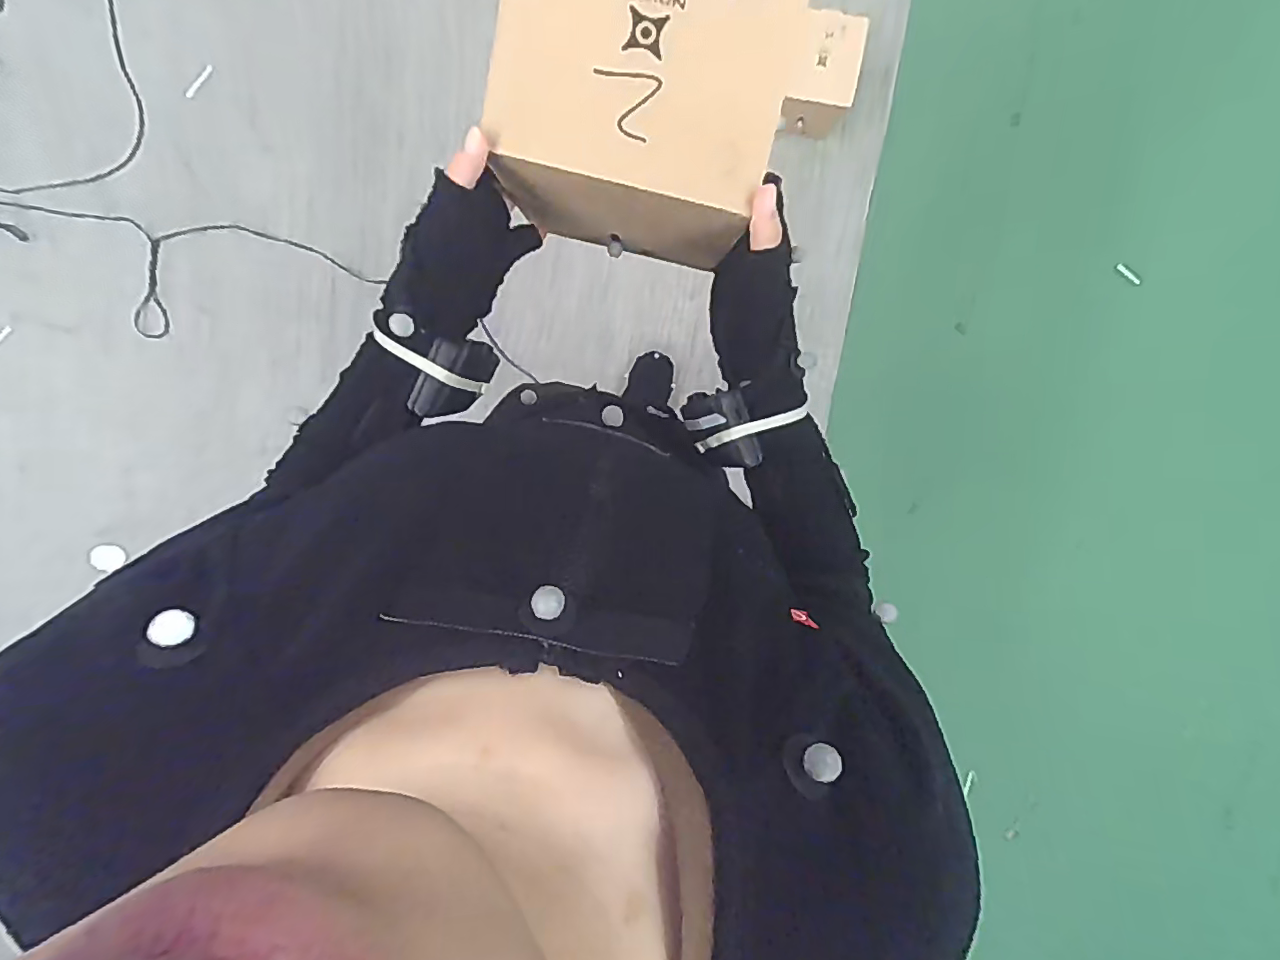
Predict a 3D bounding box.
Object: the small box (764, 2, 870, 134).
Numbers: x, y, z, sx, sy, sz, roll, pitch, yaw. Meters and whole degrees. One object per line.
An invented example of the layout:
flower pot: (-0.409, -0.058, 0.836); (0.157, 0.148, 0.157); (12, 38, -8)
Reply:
small box: (0.389, -0.917, 1.223); (0.168, 0.176, 0.179); (8, 101, -2)
